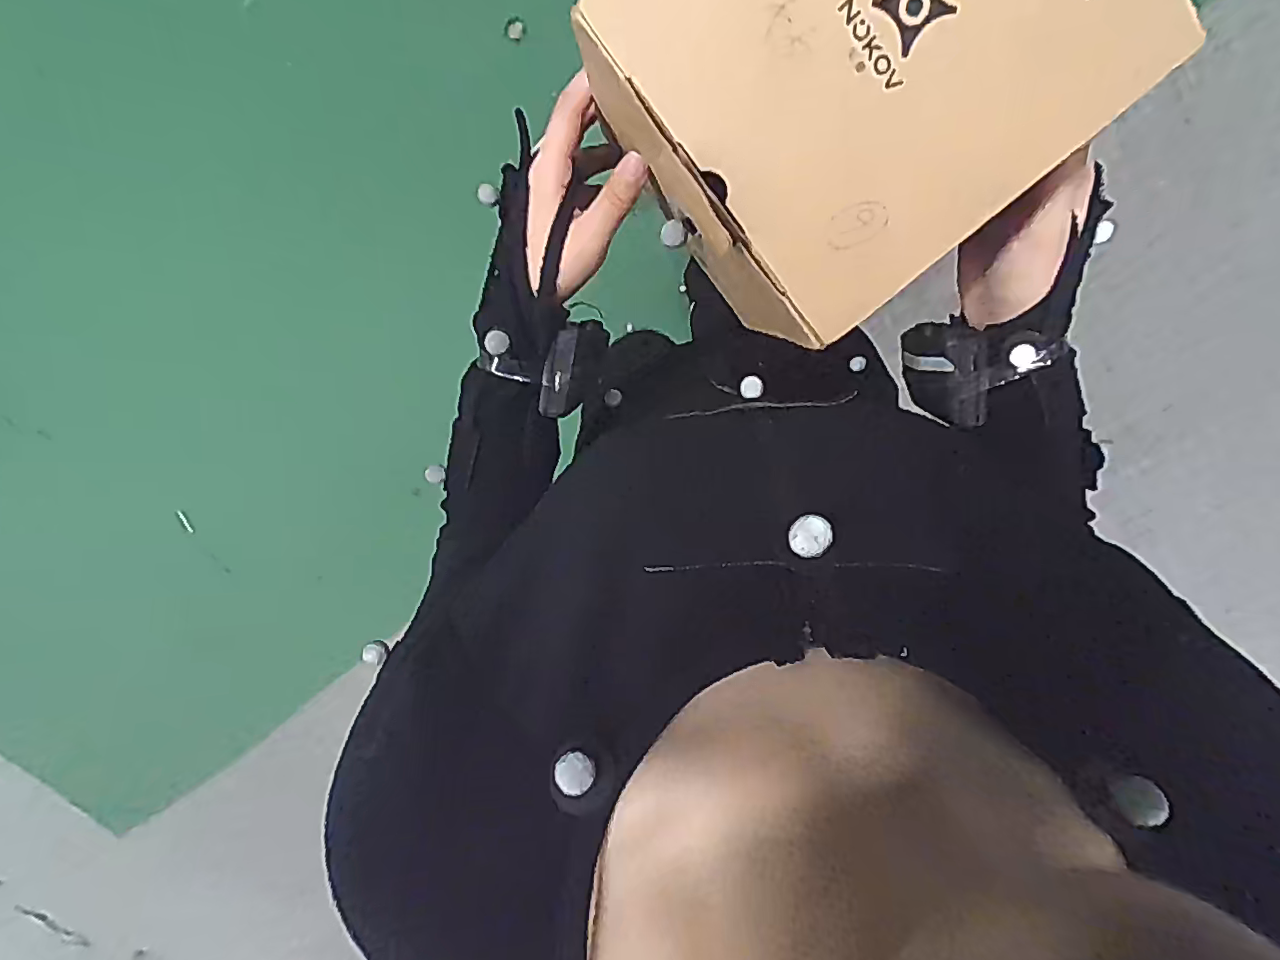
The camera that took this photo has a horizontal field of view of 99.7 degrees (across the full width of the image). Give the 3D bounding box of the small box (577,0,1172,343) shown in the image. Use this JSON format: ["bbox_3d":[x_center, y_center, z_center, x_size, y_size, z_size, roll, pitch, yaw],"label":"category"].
[{"bbox_3d":[0.093,-0.196,0.286,0.179,0.176,0.168,-38,105,13],"label":"small box"}]
